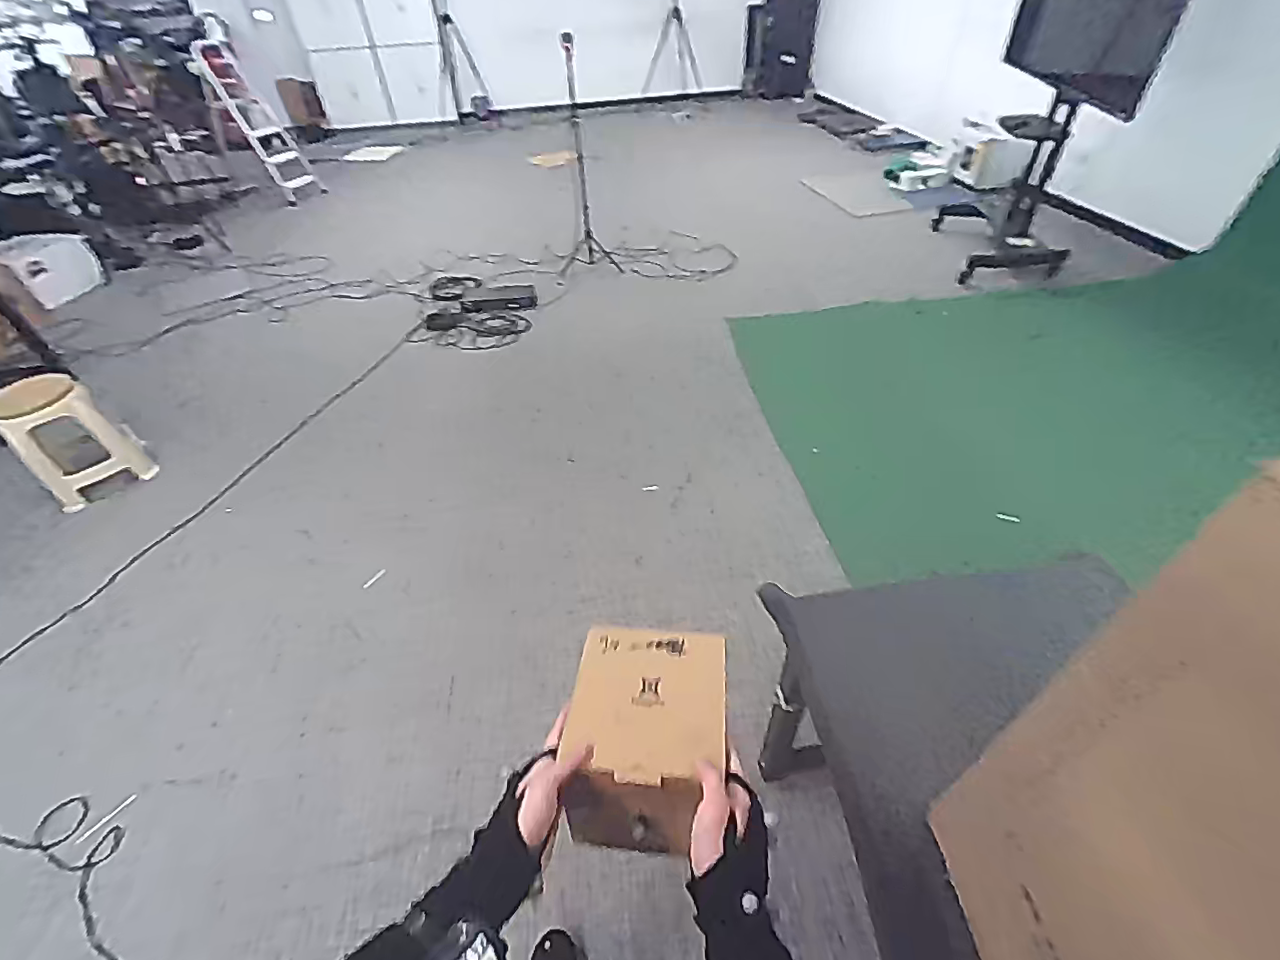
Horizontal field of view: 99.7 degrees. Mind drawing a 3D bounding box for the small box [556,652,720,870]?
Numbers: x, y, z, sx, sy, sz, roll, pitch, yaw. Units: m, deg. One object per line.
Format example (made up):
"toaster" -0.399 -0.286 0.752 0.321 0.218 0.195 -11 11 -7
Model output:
"small box" 0.008 0.326 0.634 0.168 0.176 0.179 -1 34 5
